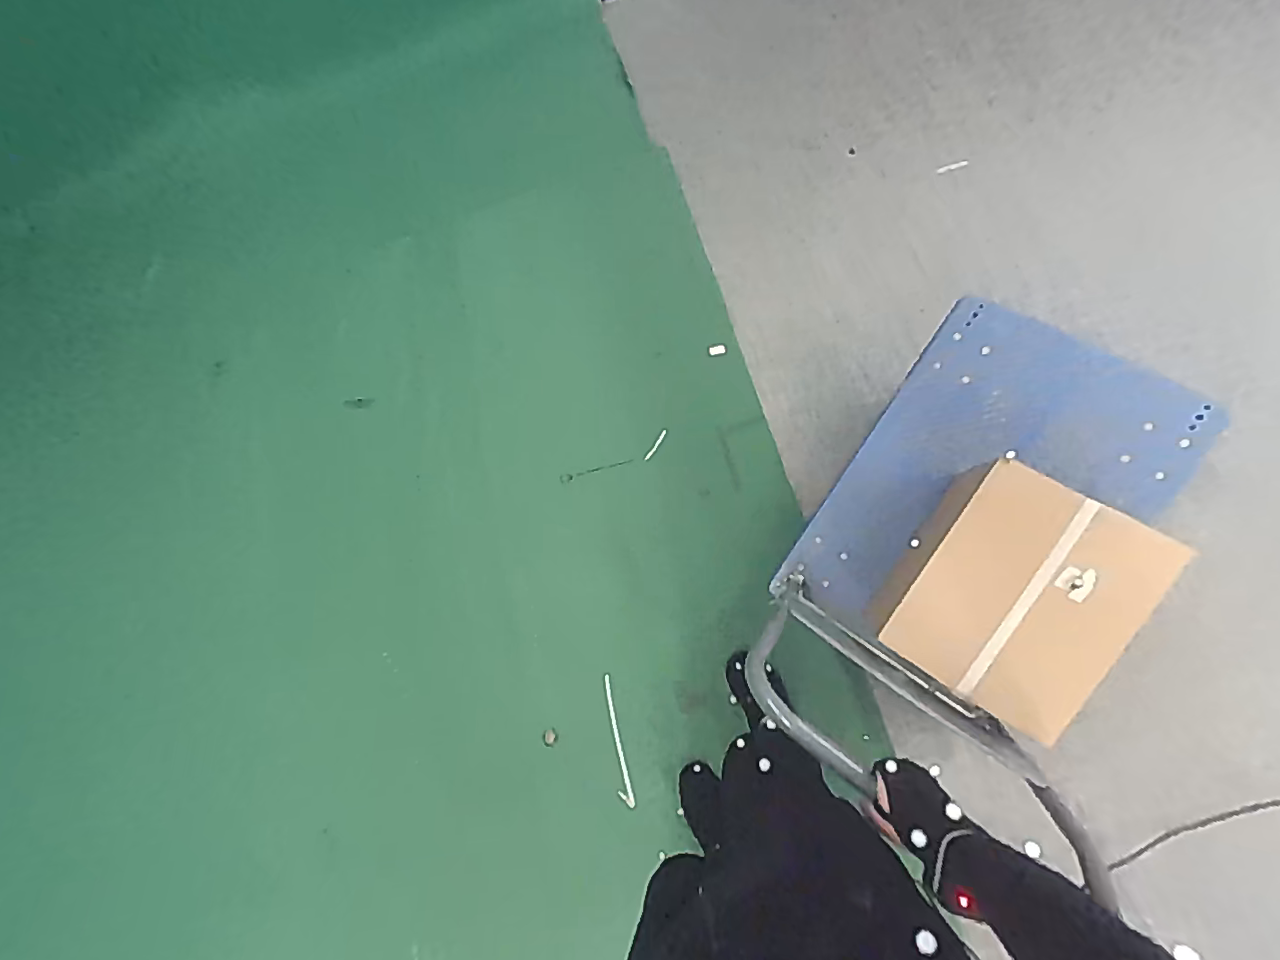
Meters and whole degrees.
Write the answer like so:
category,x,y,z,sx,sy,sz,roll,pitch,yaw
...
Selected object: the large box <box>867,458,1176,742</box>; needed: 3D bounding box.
category,x,y,z,sx,sy,sz,roll,pitch,yaw
large box,0.710,0.220,1.091,0.320,0.320,0.408,32,94,17
